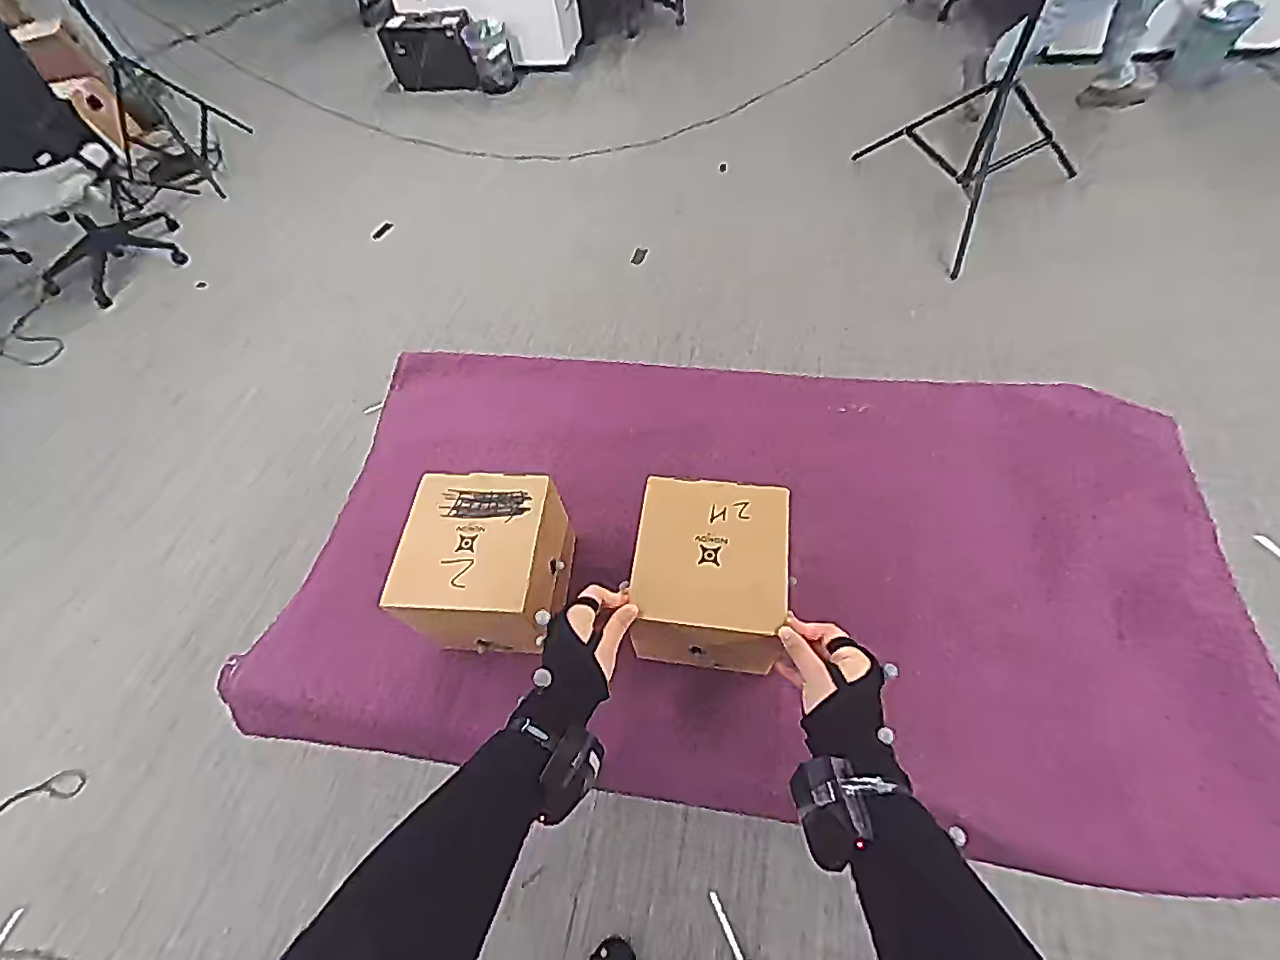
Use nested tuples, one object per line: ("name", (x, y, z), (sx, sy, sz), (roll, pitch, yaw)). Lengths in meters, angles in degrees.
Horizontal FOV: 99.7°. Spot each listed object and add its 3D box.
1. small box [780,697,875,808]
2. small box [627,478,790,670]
("small box", (0.408, 0.602, 1.189), (0.168, 0.176, 0.179), (10, 59, 13))
("small box", (0.086, 0.120, 0.660), (0.168, 0.176, 0.179), (6, 58, 8))
